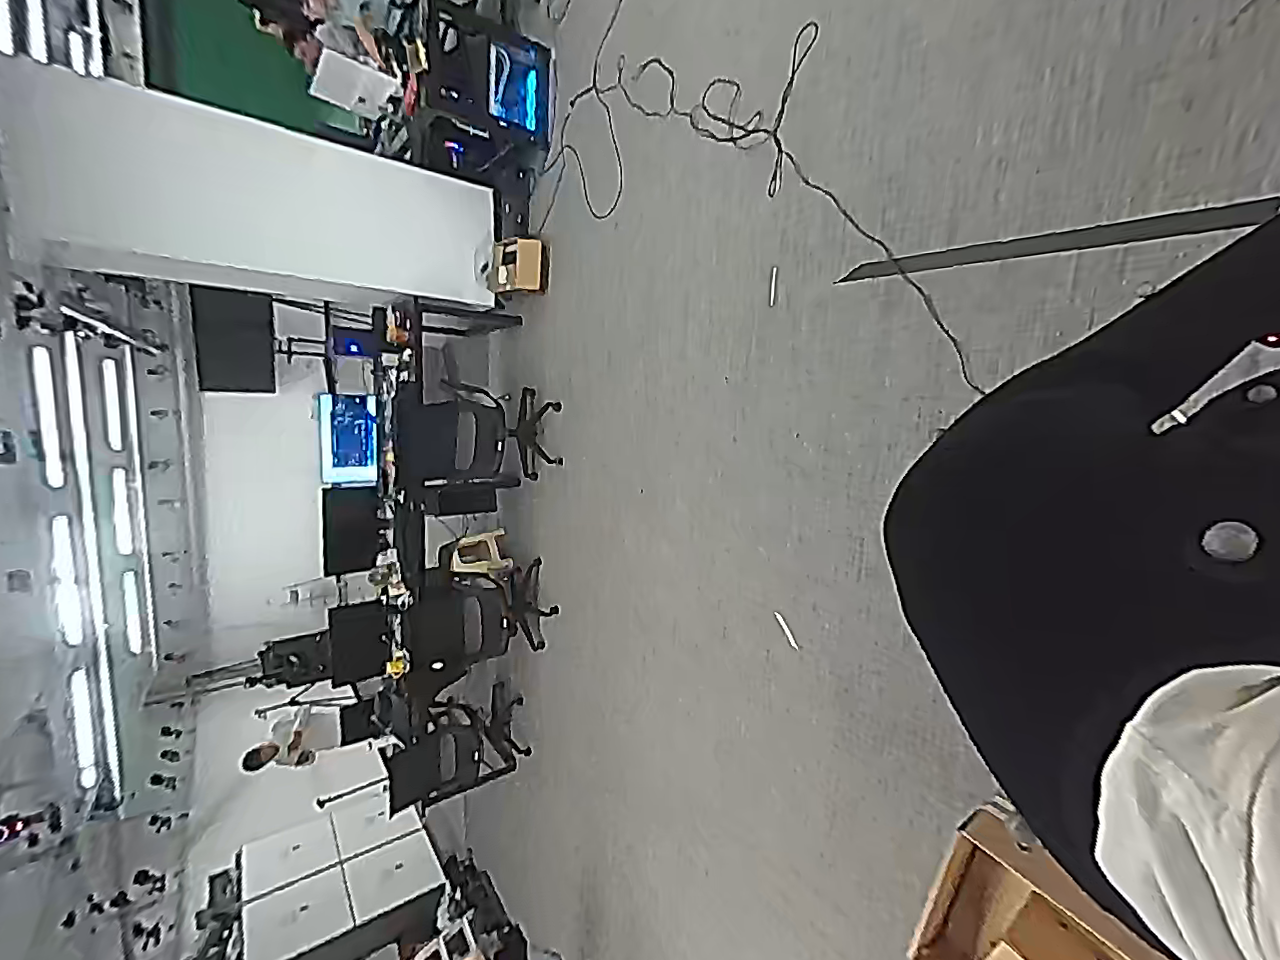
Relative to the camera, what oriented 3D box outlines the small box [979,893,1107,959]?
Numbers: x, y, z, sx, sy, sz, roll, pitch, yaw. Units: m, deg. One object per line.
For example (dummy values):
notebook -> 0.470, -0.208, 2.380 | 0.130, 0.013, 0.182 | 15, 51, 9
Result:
small box -> 0.771, 0.954, 1.037 | 0.168, 0.176, 0.179 | 36, 122, 45
